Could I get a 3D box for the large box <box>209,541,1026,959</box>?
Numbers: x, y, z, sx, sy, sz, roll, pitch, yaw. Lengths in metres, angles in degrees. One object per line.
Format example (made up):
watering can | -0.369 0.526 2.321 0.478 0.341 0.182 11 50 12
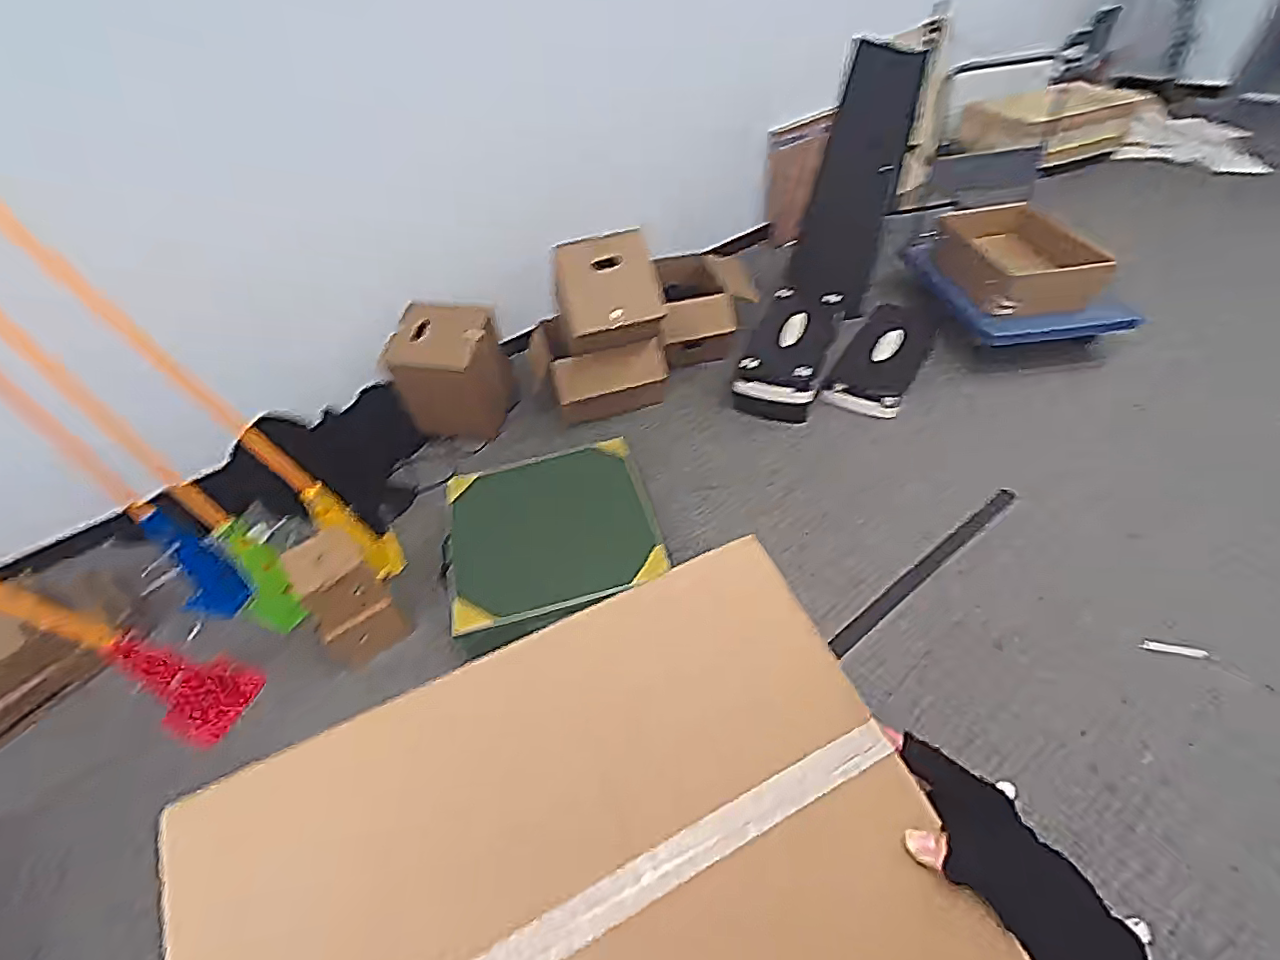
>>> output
large box | -0.024 0.315 0.437 0.408 0.320 0.320 -23 64 -13
